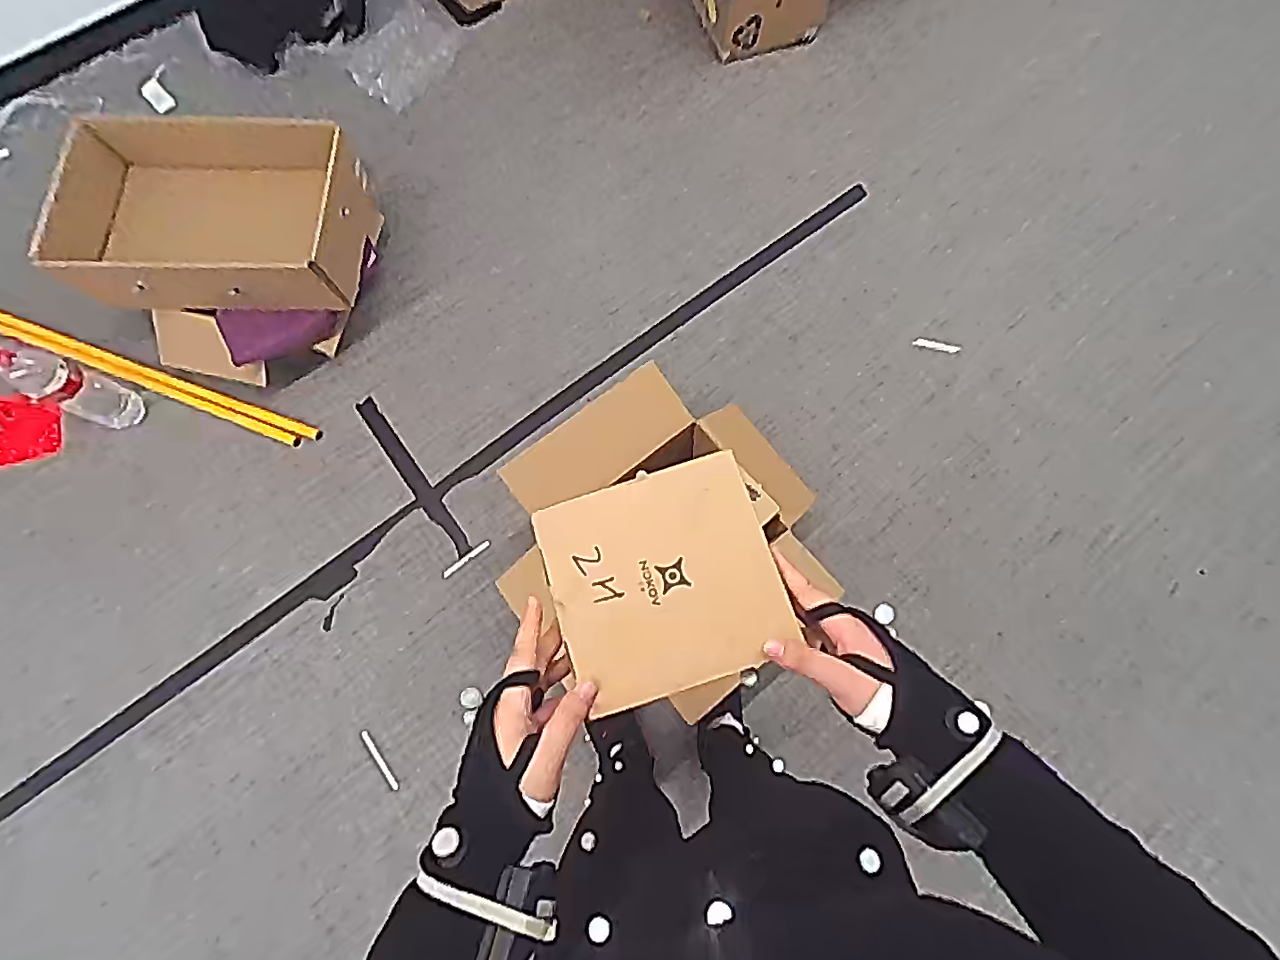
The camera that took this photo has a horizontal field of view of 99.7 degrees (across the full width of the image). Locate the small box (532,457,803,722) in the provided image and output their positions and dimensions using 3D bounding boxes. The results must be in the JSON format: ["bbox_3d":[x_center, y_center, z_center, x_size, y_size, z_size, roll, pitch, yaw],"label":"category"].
[{"bbox_3d":[0.022,0.099,0.499,0.179,0.176,0.168,-19,75,-1],"label":"small box"}]

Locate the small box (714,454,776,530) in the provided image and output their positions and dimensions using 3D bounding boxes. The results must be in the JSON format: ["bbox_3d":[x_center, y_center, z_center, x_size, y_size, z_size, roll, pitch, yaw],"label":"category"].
[{"bbox_3d":[0.154,0.081,1.146,0.179,0.176,0.168,-39,77,-14],"label":"small box"}]
